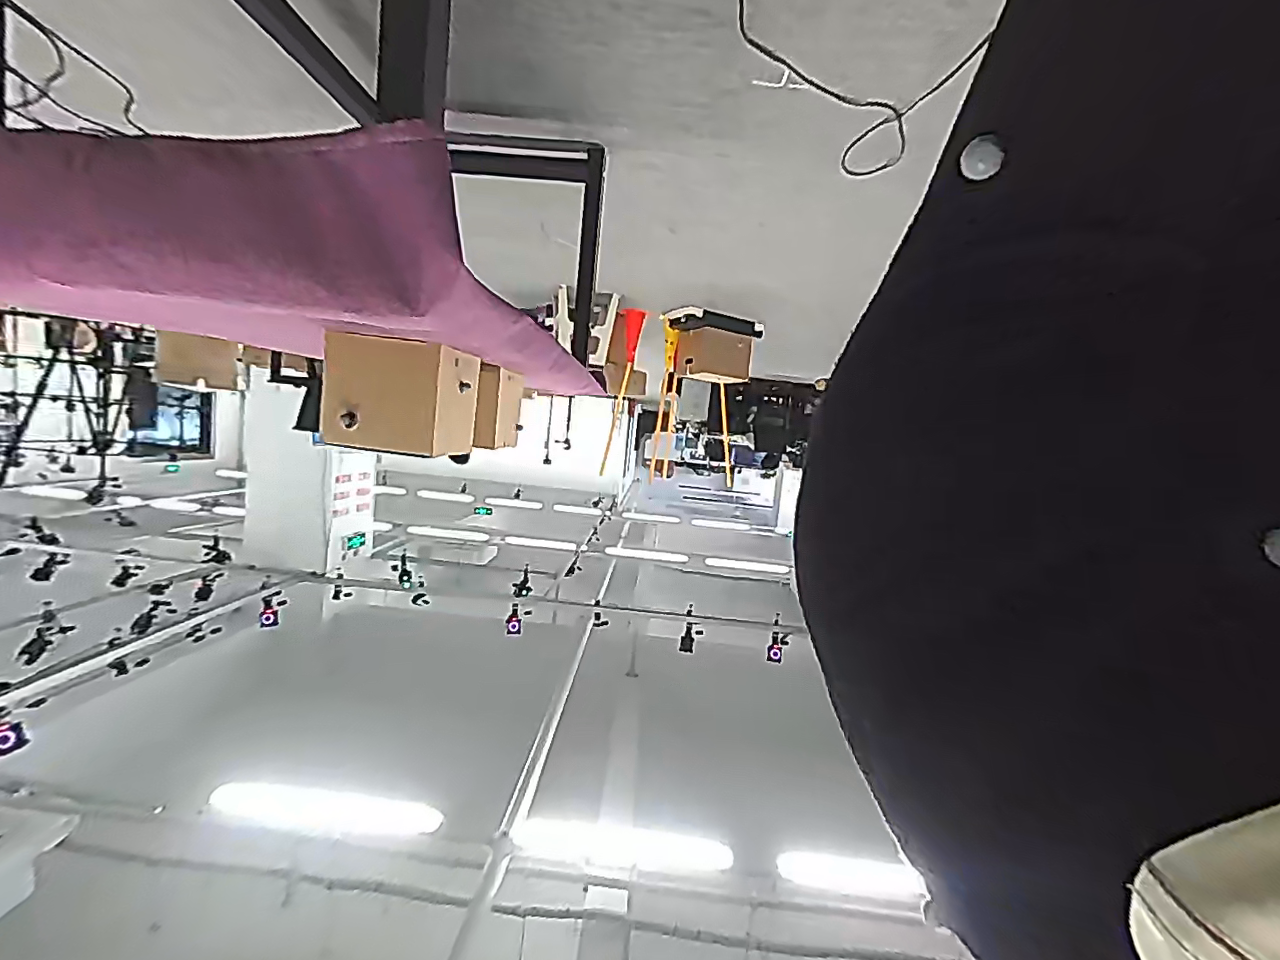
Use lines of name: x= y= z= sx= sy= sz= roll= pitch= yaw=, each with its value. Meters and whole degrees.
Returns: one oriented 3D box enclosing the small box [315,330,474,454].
small box: x=-0.379 y=-0.137 z=0.859 sx=0.179 sy=0.176 sz=0.168 roll=7 pitch=-174 yaw=1
